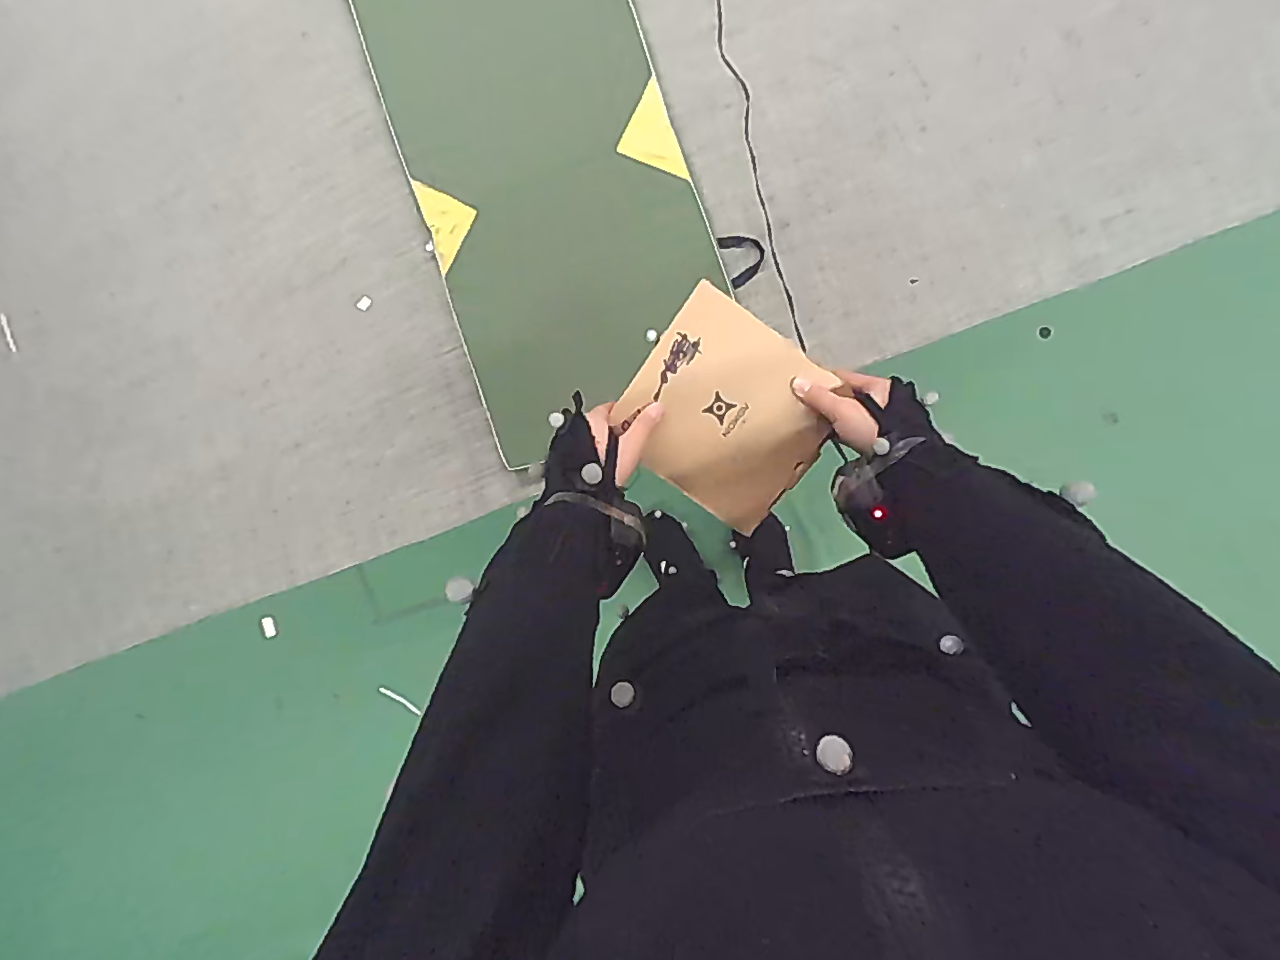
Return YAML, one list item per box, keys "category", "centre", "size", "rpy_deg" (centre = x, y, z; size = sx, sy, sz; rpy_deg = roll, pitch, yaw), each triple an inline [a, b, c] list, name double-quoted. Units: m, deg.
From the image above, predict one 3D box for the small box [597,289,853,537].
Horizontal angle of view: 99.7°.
- category: "small box"
  centre: [0.081, -0.074, 0.568]
  size: [0.179, 0.176, 0.168]
  rpy_deg: [35, 102, -4]
